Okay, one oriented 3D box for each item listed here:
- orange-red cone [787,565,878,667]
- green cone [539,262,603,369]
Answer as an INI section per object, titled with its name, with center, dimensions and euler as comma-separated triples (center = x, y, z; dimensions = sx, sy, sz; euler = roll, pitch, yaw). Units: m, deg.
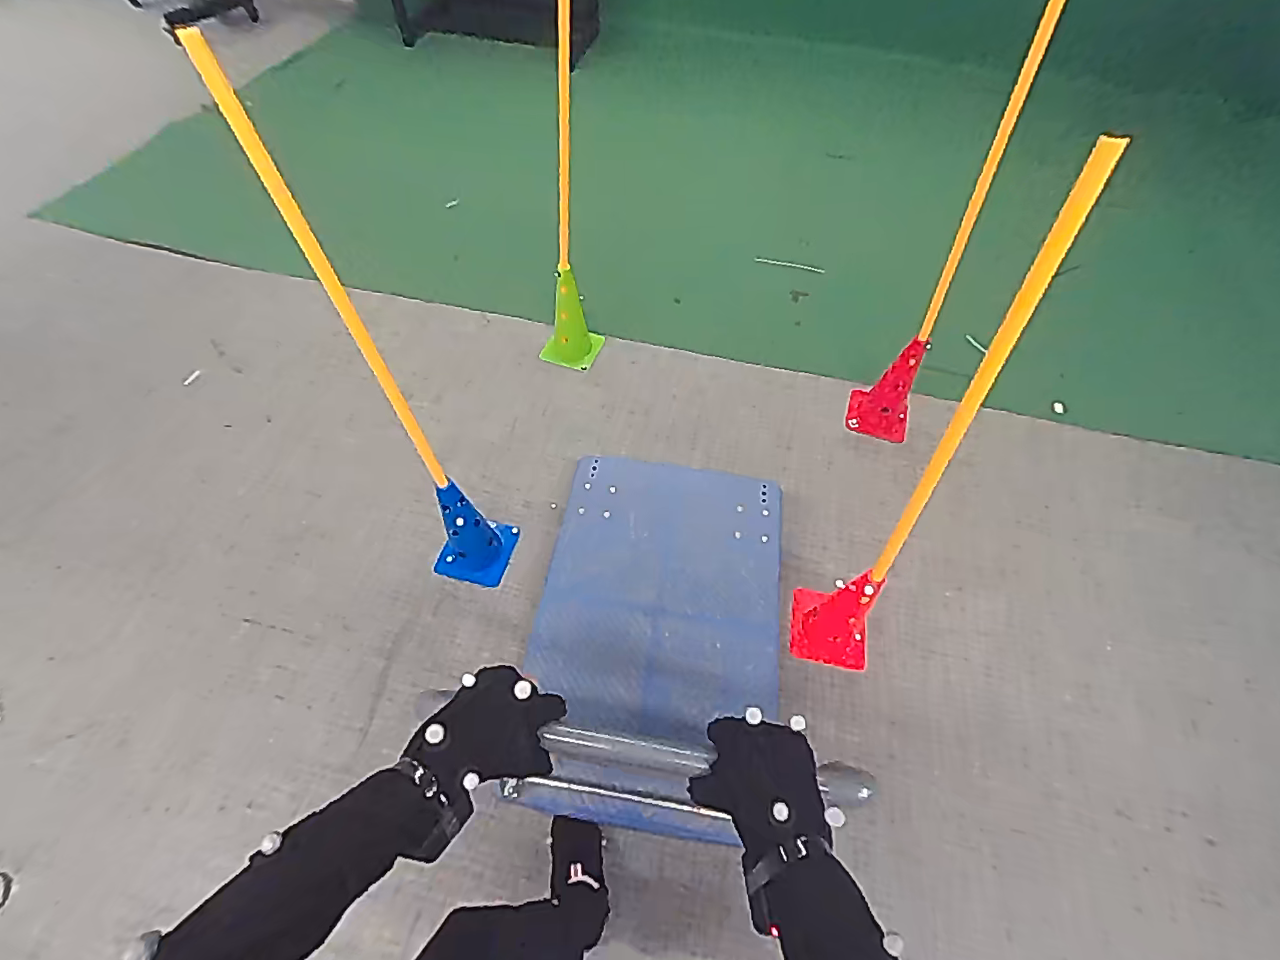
[orange-red cone]
center = 0.507, 0.305, 1.342
dimensions = 0.199, 0.360, 0.198
euler = 11, 56, 8
[green cone]
center = -0.259, -0.603, 1.917
dimensions = 0.202, 0.368, 0.200
euler = 16, 57, 10
